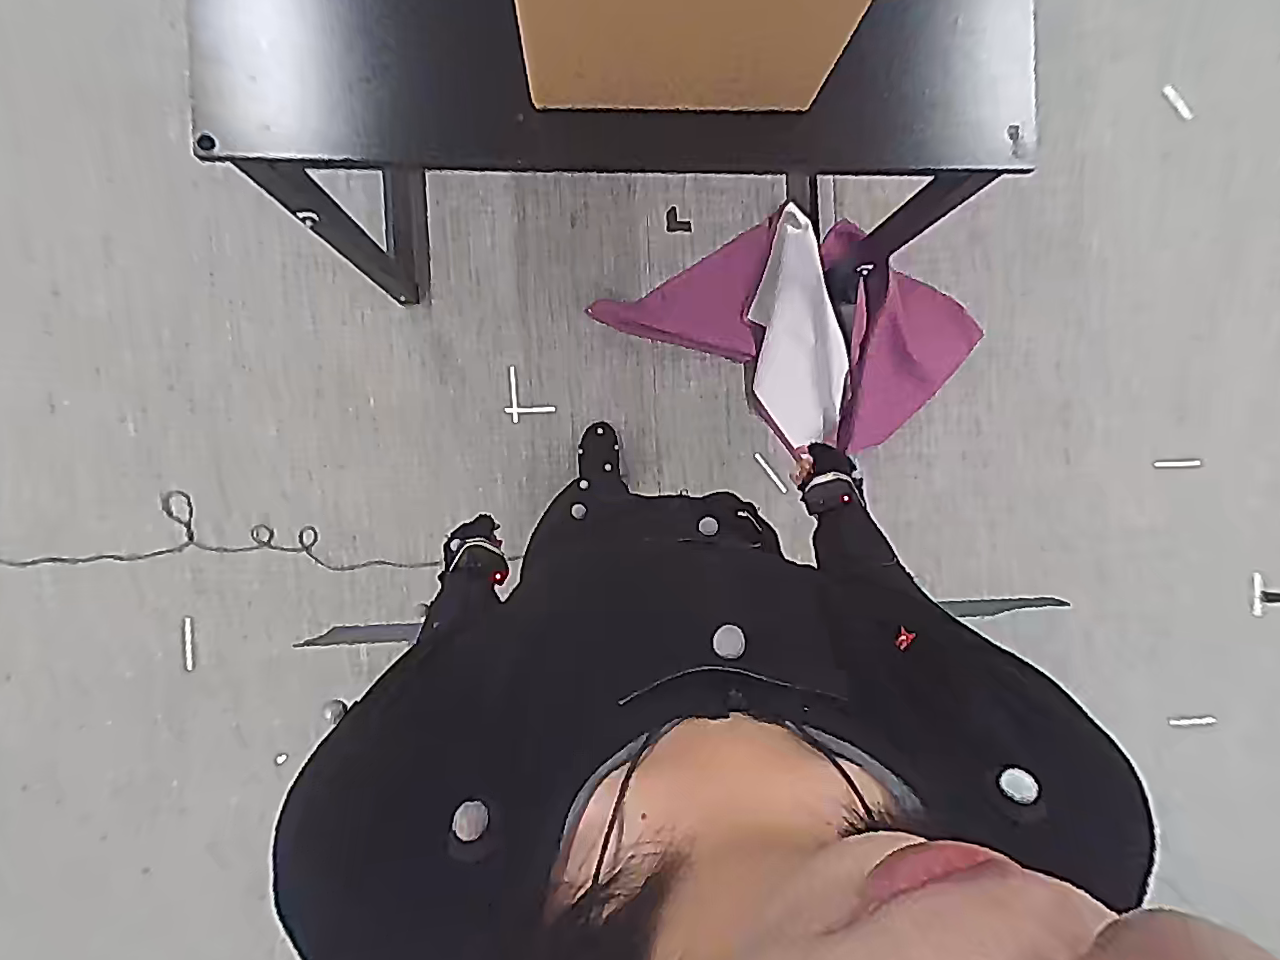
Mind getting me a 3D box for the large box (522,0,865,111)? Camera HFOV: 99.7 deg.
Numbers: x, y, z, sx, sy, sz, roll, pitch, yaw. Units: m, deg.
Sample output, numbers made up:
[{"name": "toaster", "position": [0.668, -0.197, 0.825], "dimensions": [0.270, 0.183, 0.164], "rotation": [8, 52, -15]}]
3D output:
[{"name": "large box", "position": [0.051, -0.684, 0.631], "dimensions": [0.408, 0.320, 0.320], "rotation": [-4, 92, -6]}]
